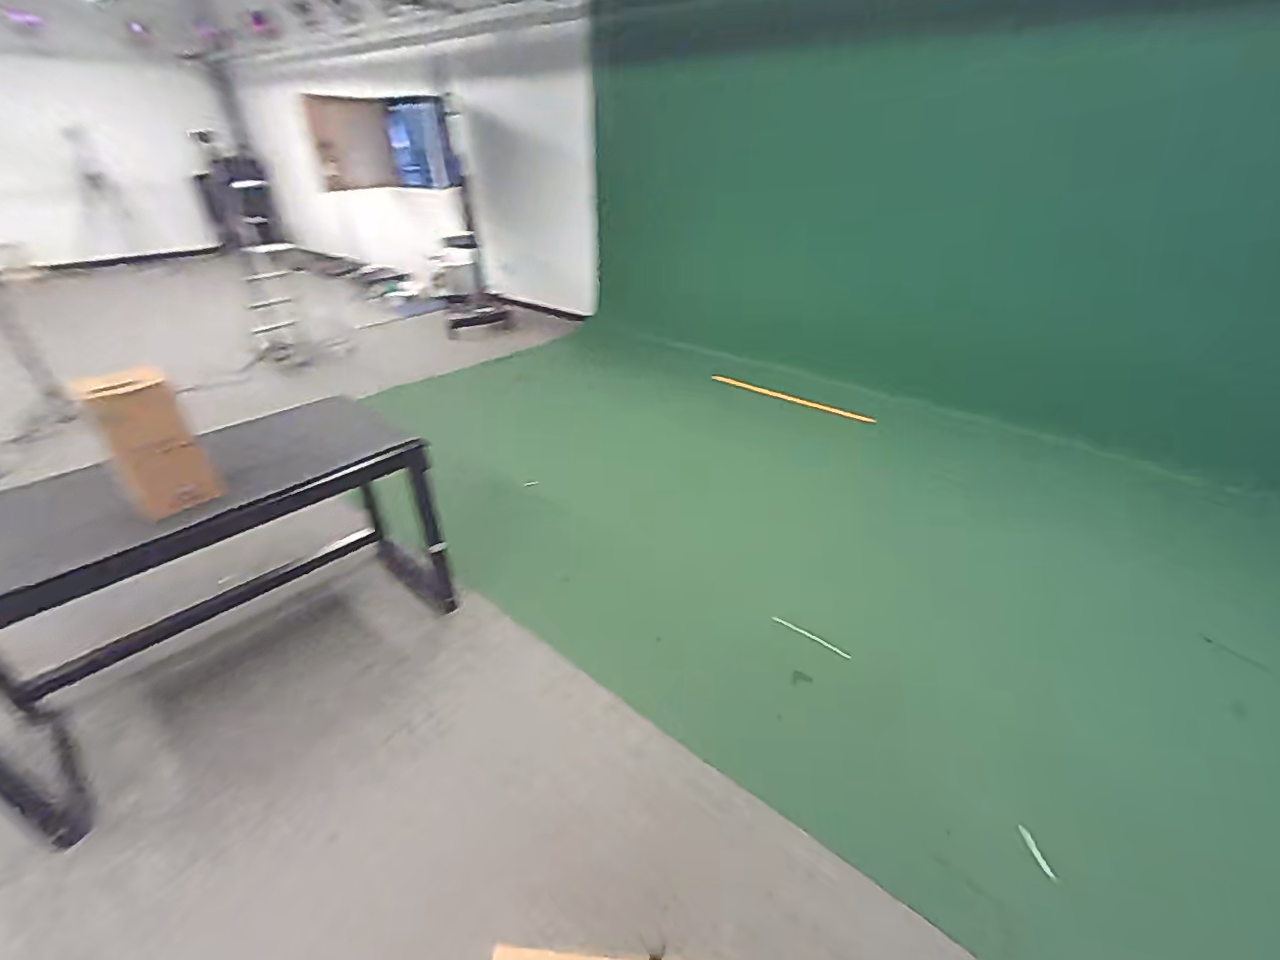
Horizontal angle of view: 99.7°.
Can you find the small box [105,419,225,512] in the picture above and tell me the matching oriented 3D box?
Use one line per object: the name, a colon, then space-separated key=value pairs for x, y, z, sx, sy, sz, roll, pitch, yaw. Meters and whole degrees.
small box: x=-1.239 y=-0.038 z=1.417 sx=0.179 sy=0.176 sz=0.168 roll=22 pitch=38 yaw=32
